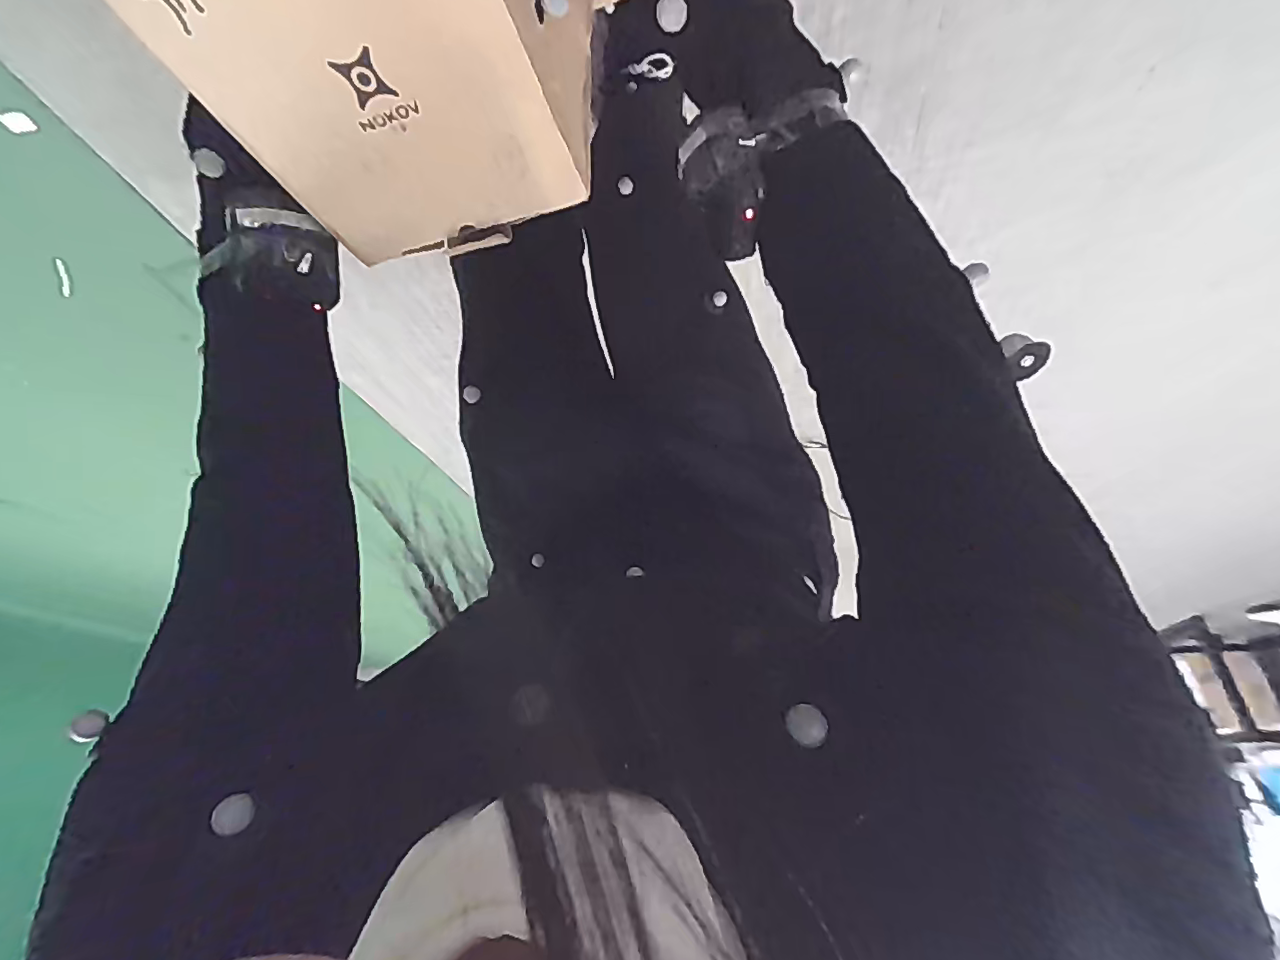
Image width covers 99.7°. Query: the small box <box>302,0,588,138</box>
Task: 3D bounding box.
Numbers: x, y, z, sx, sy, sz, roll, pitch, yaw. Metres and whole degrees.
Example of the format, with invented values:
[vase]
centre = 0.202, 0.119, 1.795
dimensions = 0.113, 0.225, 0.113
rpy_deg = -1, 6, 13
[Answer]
[small box]
centre = -0.142, -0.397, 0.377
dimensions = 0.168, 0.176, 0.179
rpy_deg = -10, 153, 19
